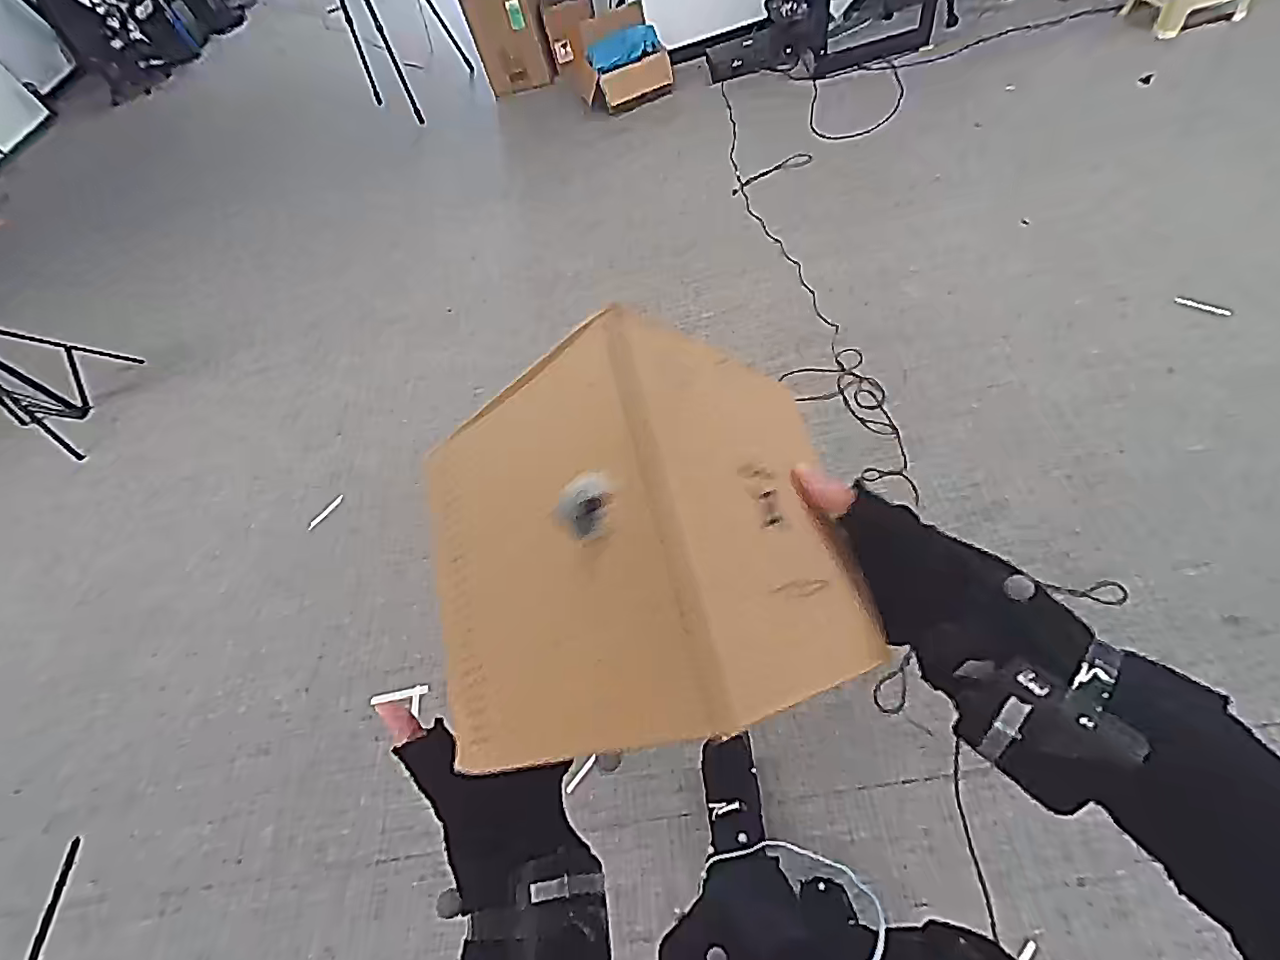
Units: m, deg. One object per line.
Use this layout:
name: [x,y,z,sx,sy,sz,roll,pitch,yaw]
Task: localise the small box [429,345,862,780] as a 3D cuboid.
small box: [-0.008,0.056,0.322,0.176,0.168,0.179,-32,65,38]
